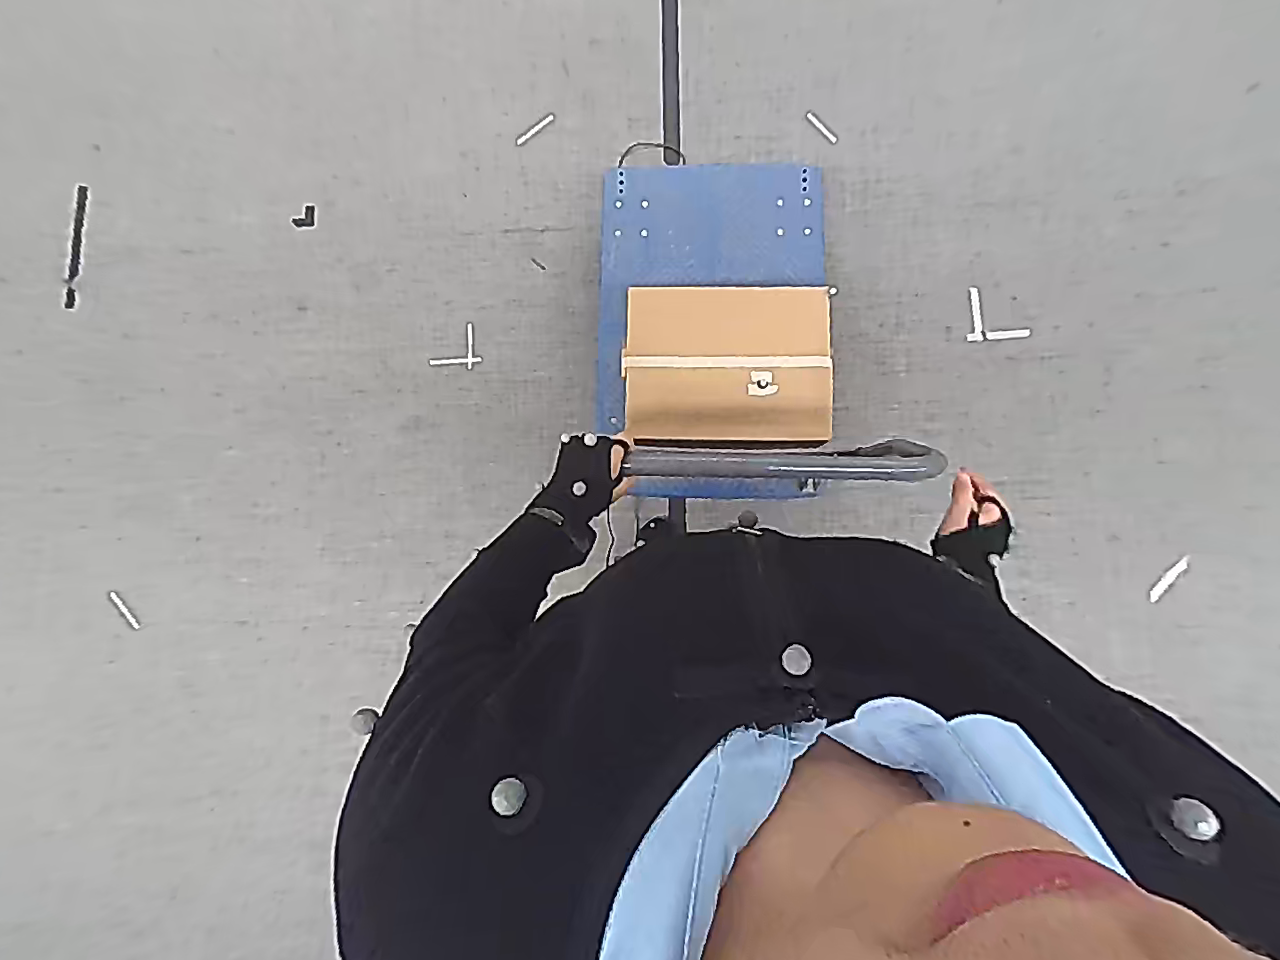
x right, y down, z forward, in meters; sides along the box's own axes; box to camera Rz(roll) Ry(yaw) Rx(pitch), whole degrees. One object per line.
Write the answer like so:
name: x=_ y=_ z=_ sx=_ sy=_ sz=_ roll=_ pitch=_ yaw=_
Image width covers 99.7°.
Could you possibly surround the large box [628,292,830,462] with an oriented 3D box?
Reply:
large box: x=0.178 y=-0.213 z=1.227 sx=0.408 sy=0.320 sz=0.320 roll=1 pitch=85 yaw=1
